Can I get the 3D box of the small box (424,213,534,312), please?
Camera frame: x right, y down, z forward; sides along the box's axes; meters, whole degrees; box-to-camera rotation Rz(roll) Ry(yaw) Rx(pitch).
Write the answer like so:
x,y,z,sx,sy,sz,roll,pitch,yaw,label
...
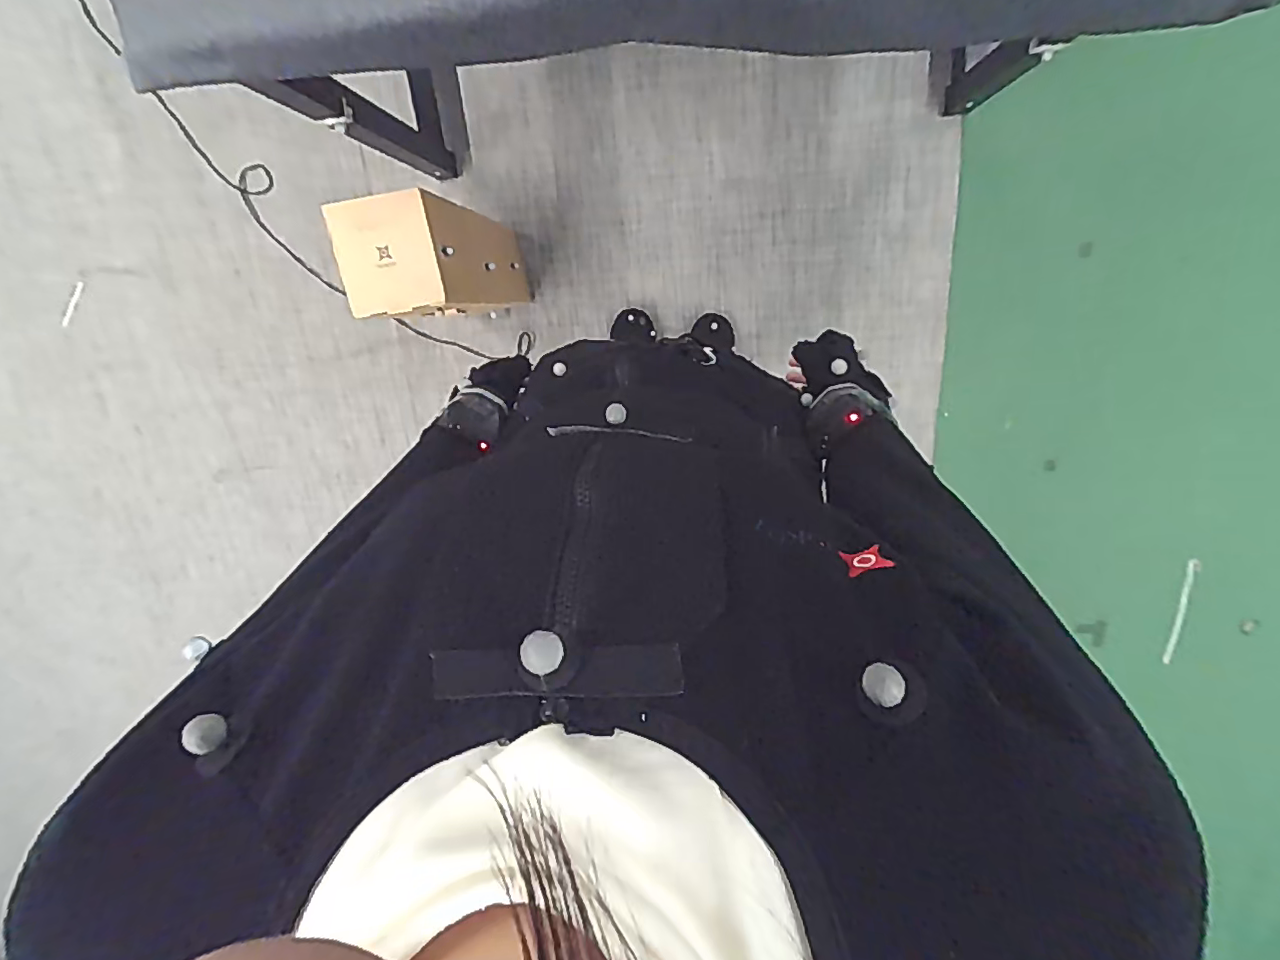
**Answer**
x,y,z,sx,sy,sz,roll,pitch,yaw,label
-0.362,-0.492,1.246,0.168,0.176,0.179,-10,108,9,small box
